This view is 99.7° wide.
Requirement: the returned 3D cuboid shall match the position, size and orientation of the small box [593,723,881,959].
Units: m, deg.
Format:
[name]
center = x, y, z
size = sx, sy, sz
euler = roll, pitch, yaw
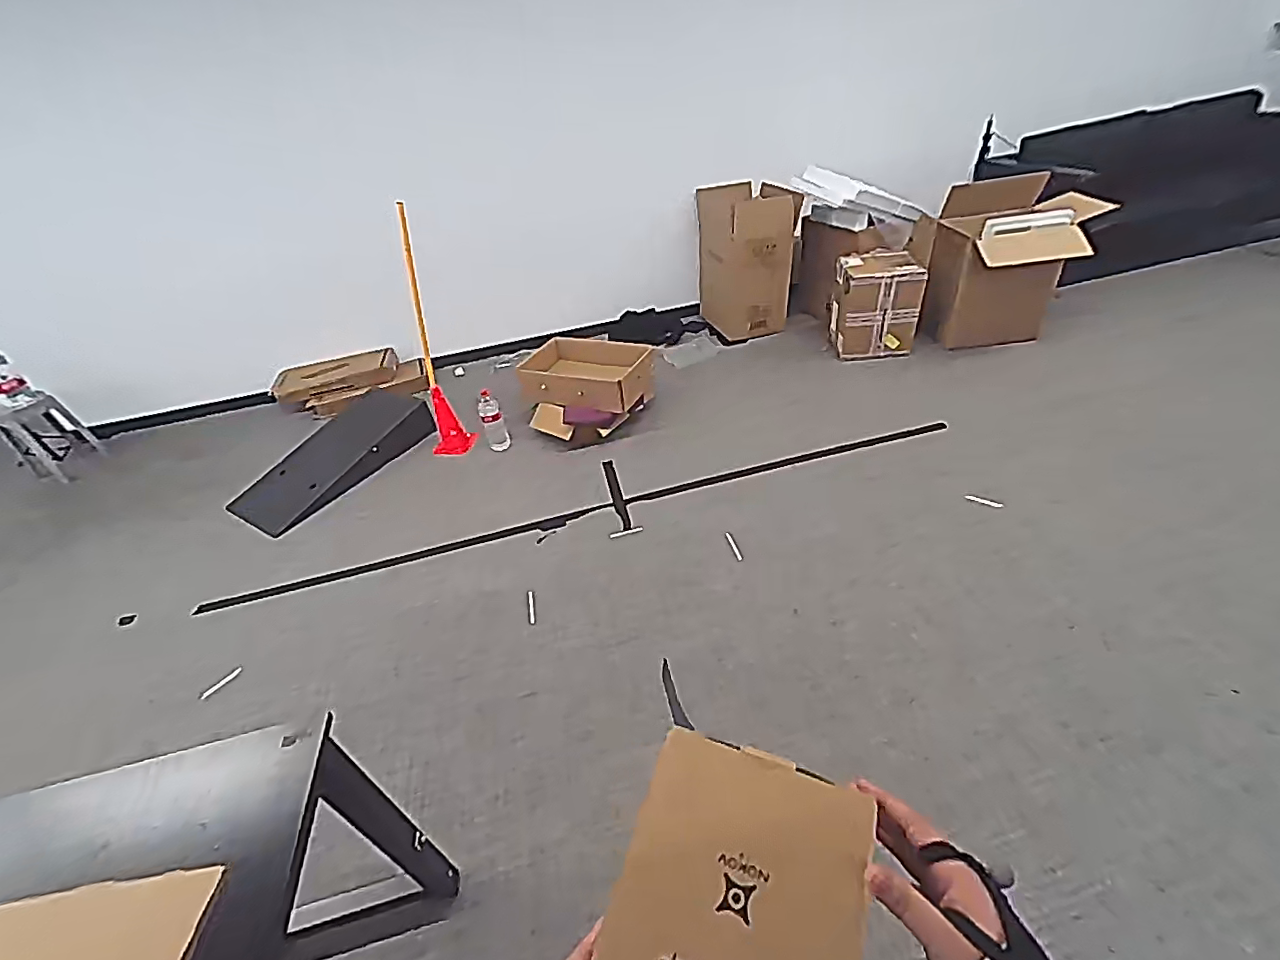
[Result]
[small box]
center = 0.082, 0.337, 0.433
size = 0.168, 0.176, 0.179
euler = 11, 48, 21
